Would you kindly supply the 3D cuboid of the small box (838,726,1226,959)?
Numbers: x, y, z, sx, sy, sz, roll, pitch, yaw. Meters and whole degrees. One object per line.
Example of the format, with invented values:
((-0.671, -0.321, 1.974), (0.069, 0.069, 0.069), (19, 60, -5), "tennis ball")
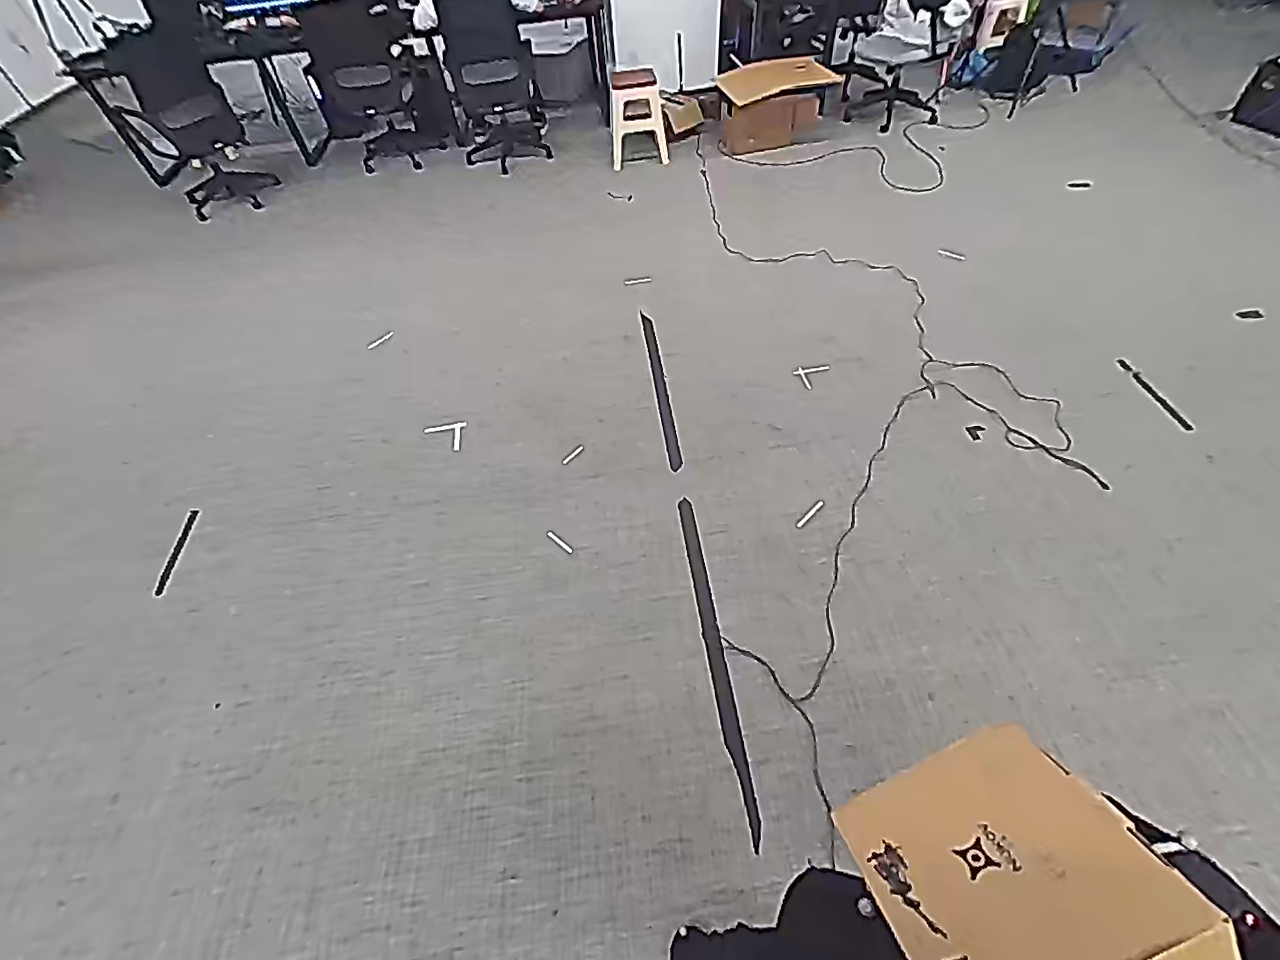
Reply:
((0.293, 0.342, 0.422), (0.179, 0.176, 0.168), (-28, 16, 2), "small box")
